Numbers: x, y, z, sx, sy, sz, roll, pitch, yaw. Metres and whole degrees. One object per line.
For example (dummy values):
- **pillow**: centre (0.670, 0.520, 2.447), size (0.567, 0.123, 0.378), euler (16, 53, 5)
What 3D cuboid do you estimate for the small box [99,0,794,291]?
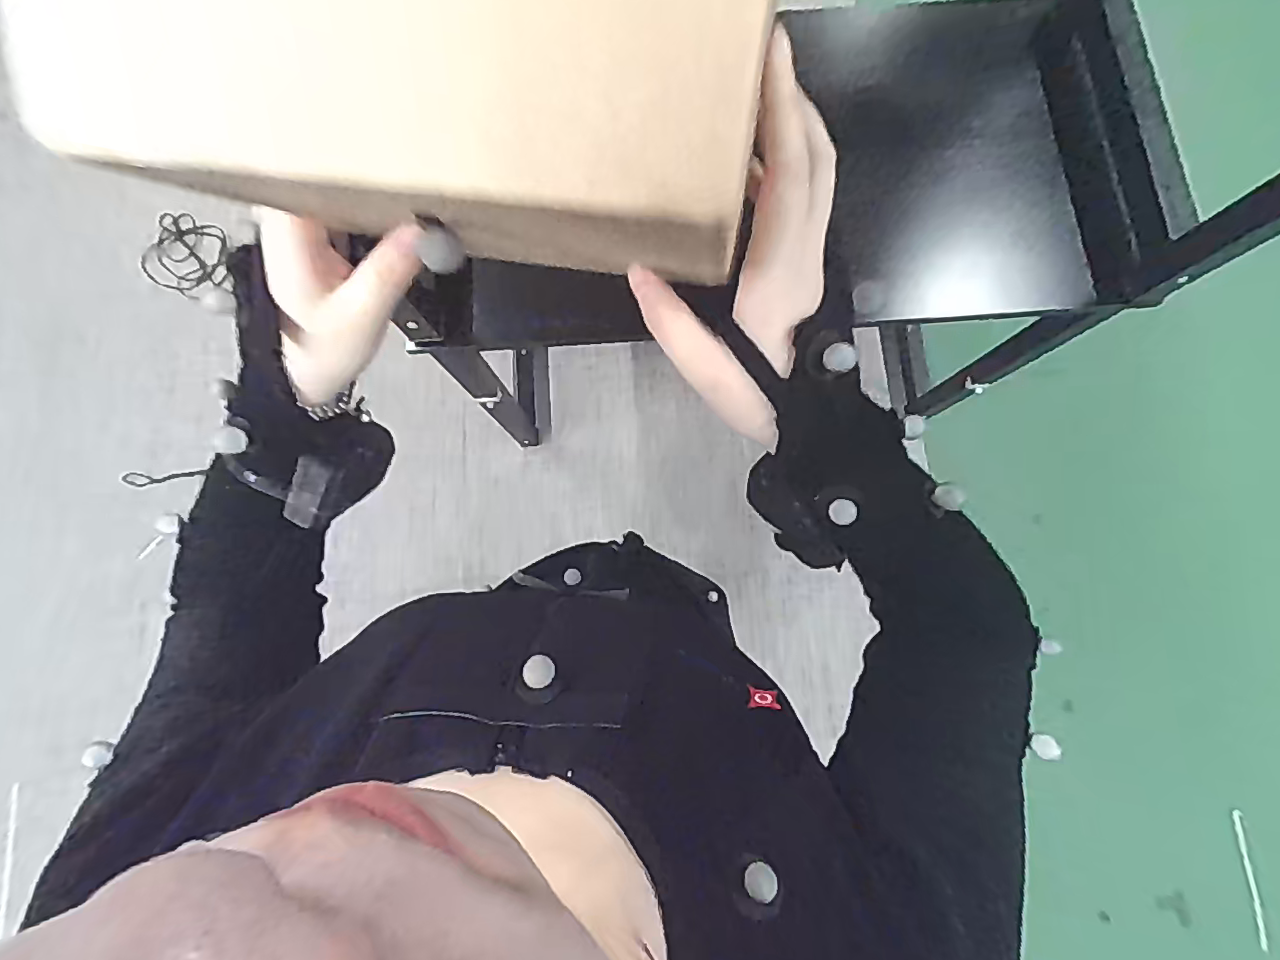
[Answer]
- **small box**: centre (-0.037, -0.165, 0.193), size (0.179, 0.176, 0.168), euler (10, 108, 6)
